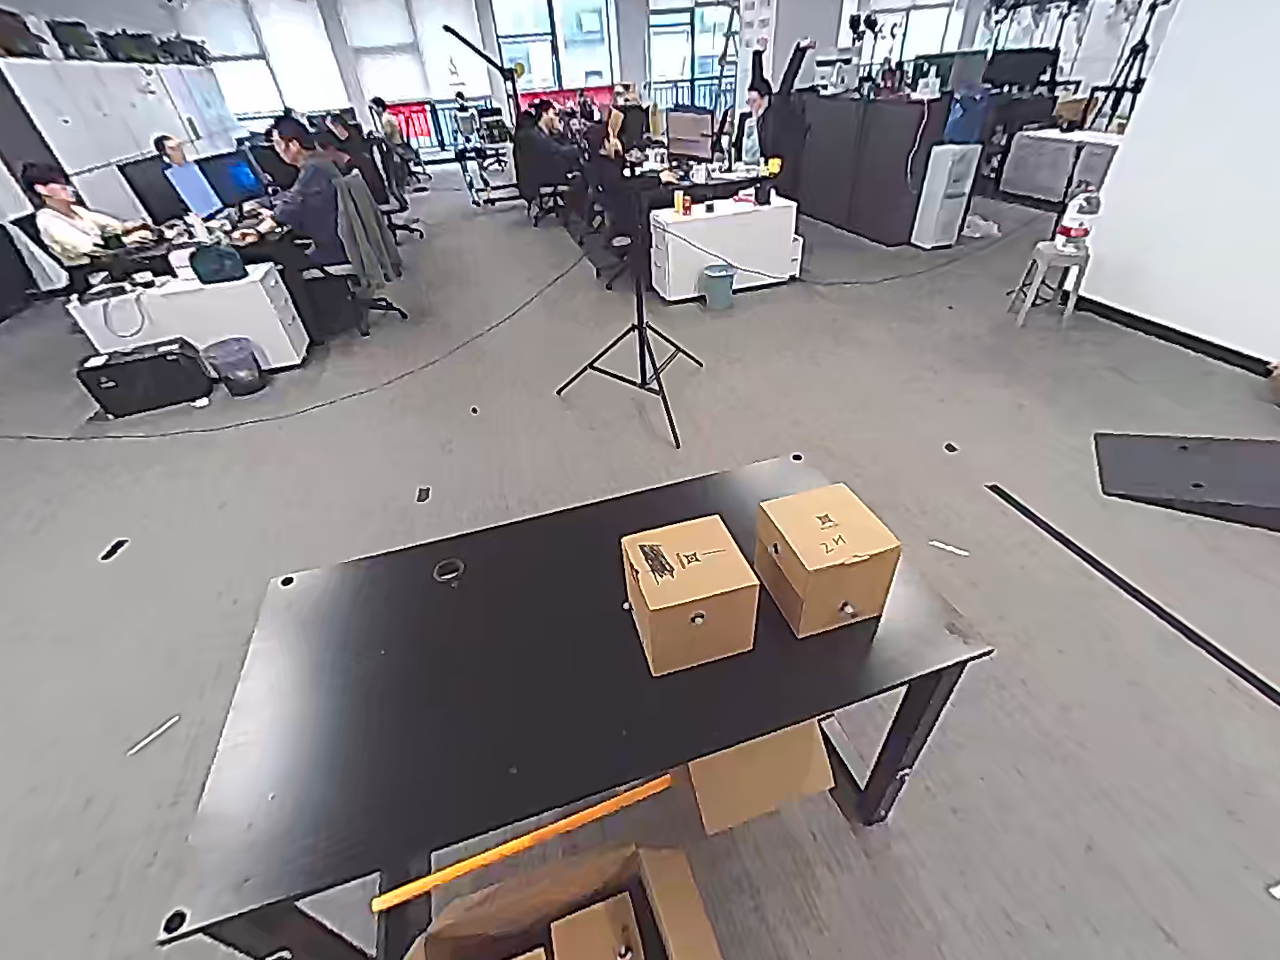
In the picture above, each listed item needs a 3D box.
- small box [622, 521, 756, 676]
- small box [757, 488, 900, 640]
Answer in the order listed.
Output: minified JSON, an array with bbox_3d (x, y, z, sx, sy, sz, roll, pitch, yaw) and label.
[{"bbox_3d":[0.078,0.198,0.900,0.179,0.176,0.168,-12,38,-10],"label":"small box"},{"bbox_3d":[0.313,0.144,0.943,0.168,0.176,0.179,-13,38,-9],"label":"small box"}]
